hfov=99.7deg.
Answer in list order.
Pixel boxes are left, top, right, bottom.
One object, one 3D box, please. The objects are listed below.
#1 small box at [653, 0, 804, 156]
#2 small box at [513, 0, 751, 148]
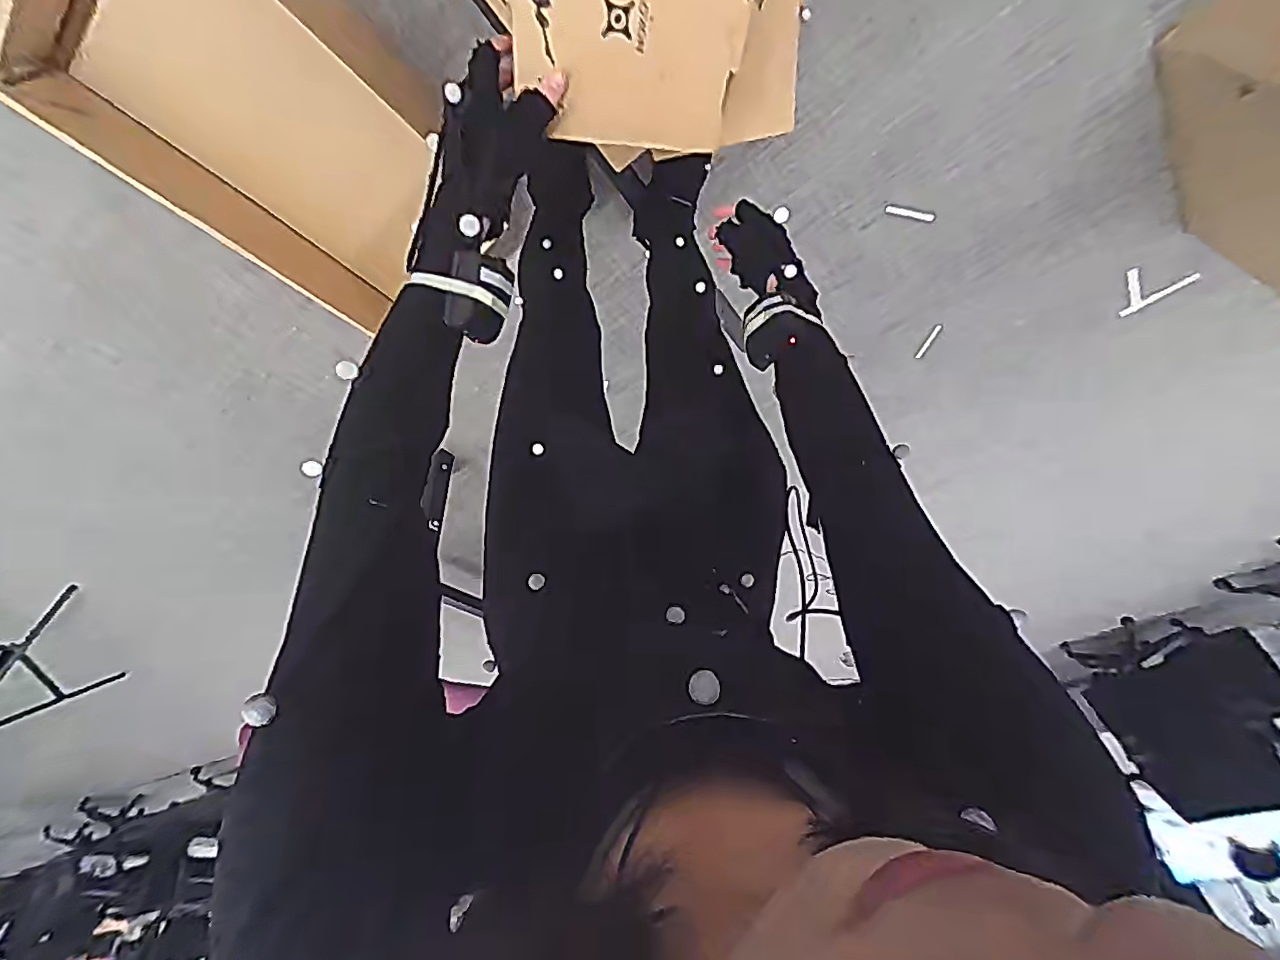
[{"bbox_3d":[0.076,-0.500,0.601,0.168,0.176,0.179,-9,141,4],"label":"small box"},{"bbox_3d":[-0.015,-0.403,0.450,0.179,0.176,0.168,0,139,-10],"label":"small box"}]
